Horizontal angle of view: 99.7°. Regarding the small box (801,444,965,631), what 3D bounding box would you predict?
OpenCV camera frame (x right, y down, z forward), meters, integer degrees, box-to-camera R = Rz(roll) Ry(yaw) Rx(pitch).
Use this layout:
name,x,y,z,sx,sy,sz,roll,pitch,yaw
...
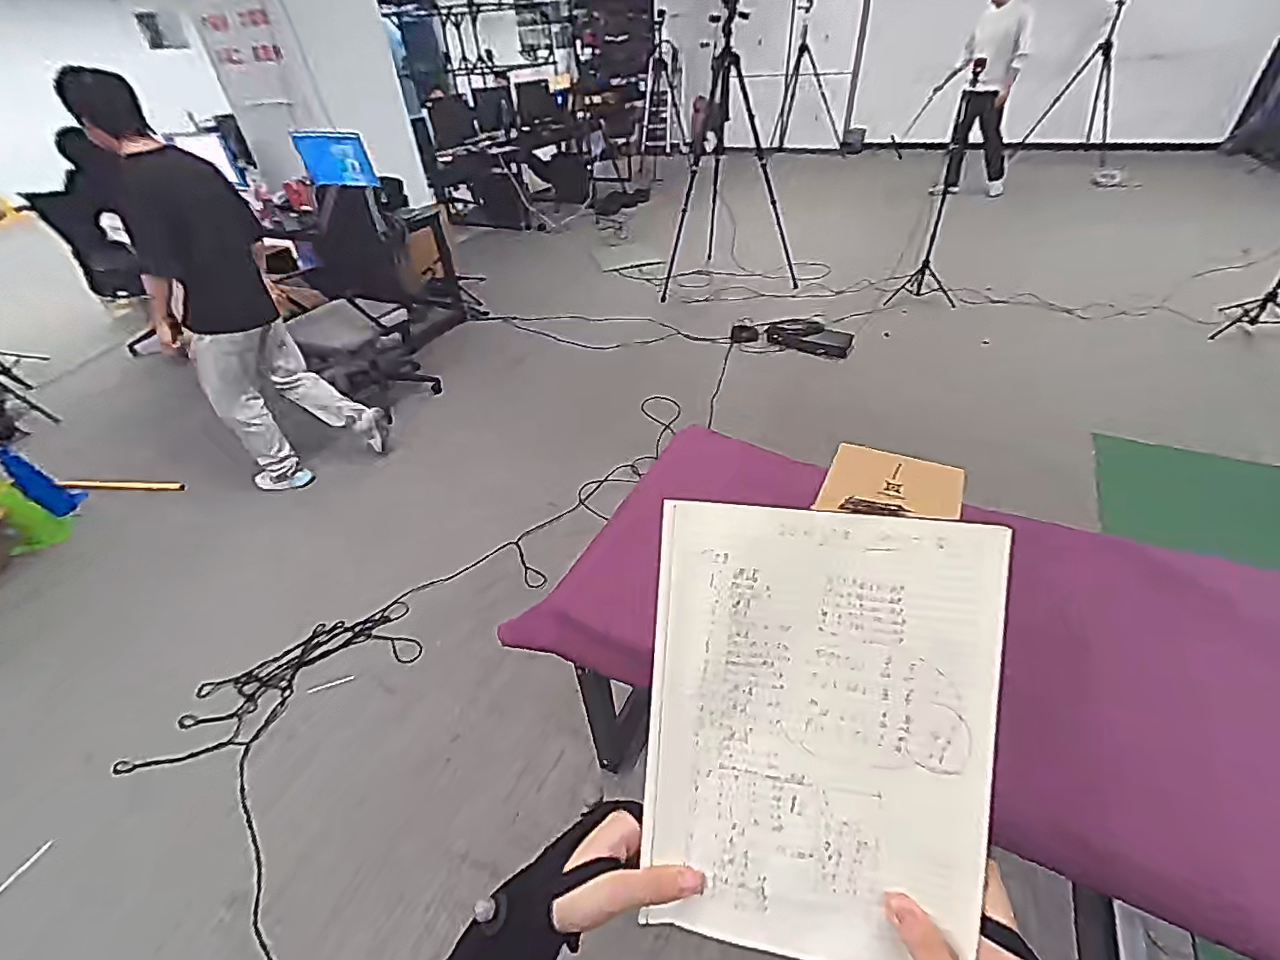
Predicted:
name,x,y,z,sx,sy,sz,roll,pitch,yaw
small box,0.333,0.079,0.758,0.168,0.176,0.179,17,42,24

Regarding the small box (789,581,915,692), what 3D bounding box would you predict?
name,x,y,z,sx,sy,sz,roll,pitch,yaw
small box,0.345,0.203,0.867,0.168,0.176,0.179,17,45,23
